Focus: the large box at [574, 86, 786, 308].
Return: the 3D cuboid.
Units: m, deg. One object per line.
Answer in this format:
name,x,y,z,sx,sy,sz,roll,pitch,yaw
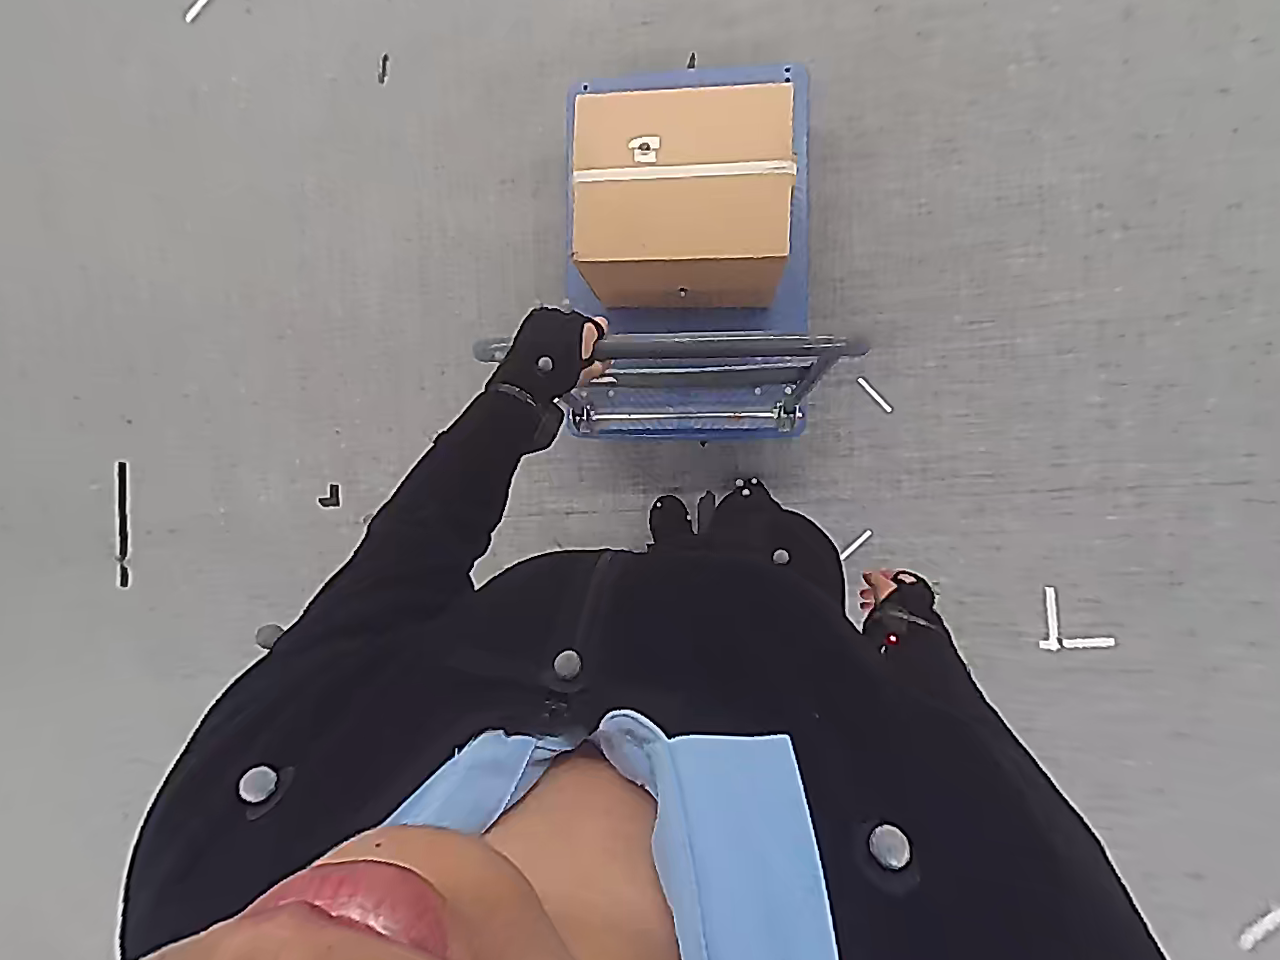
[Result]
large box,0.093,-0.570,1.160,0.408,0.320,0.320,1,90,9
